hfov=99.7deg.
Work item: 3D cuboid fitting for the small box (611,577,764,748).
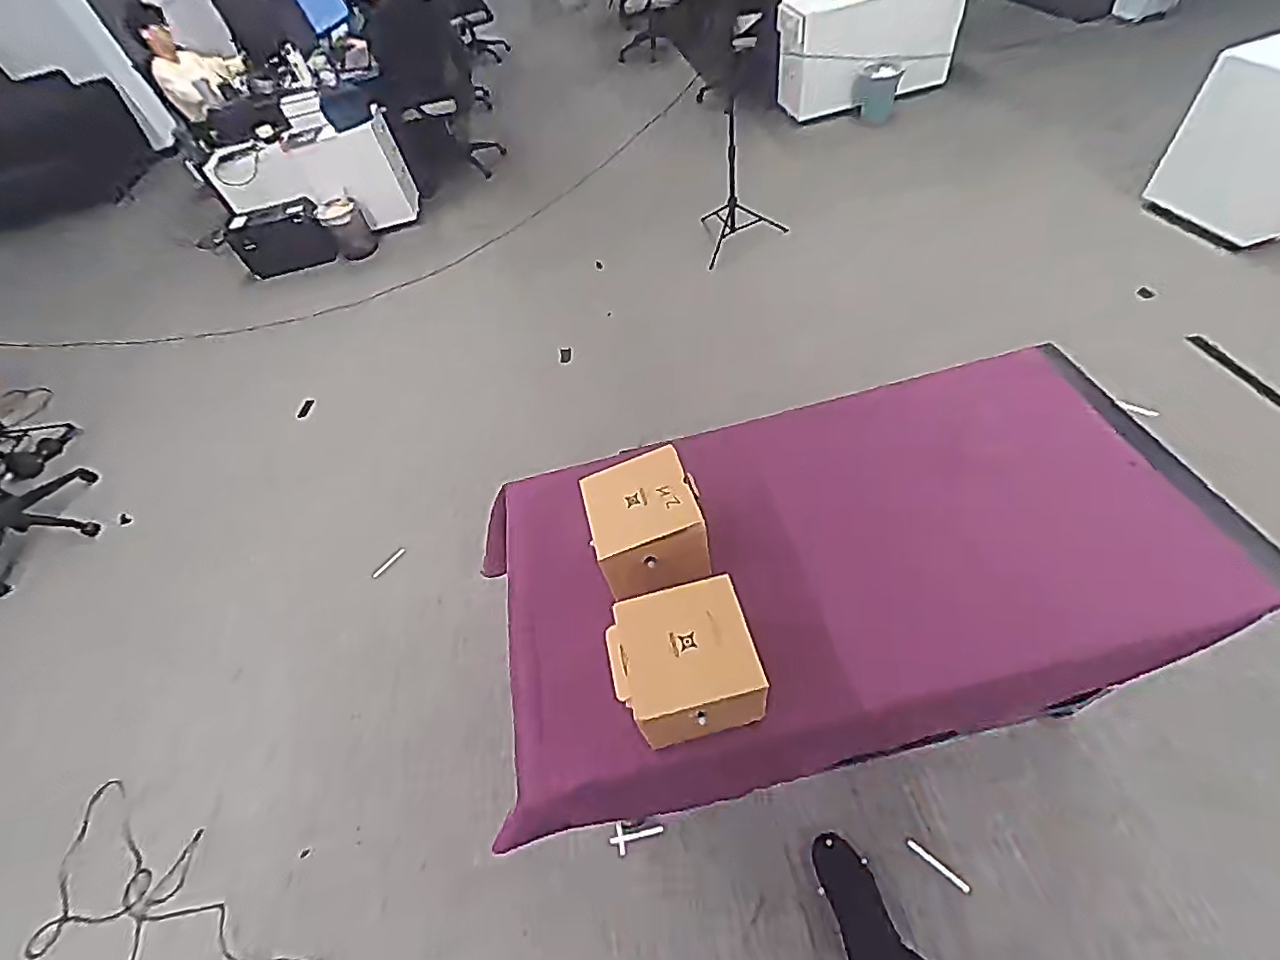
[{"bbox_3d":[0.070,0.270,0.785,0.179,0.176,0.168,-15,52,-1],"label":"small box"}]

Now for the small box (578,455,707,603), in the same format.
[{"bbox_3d":[0.007,0.090,0.933,0.179,0.176,0.168,-16,52,-2],"label":"small box"}]
